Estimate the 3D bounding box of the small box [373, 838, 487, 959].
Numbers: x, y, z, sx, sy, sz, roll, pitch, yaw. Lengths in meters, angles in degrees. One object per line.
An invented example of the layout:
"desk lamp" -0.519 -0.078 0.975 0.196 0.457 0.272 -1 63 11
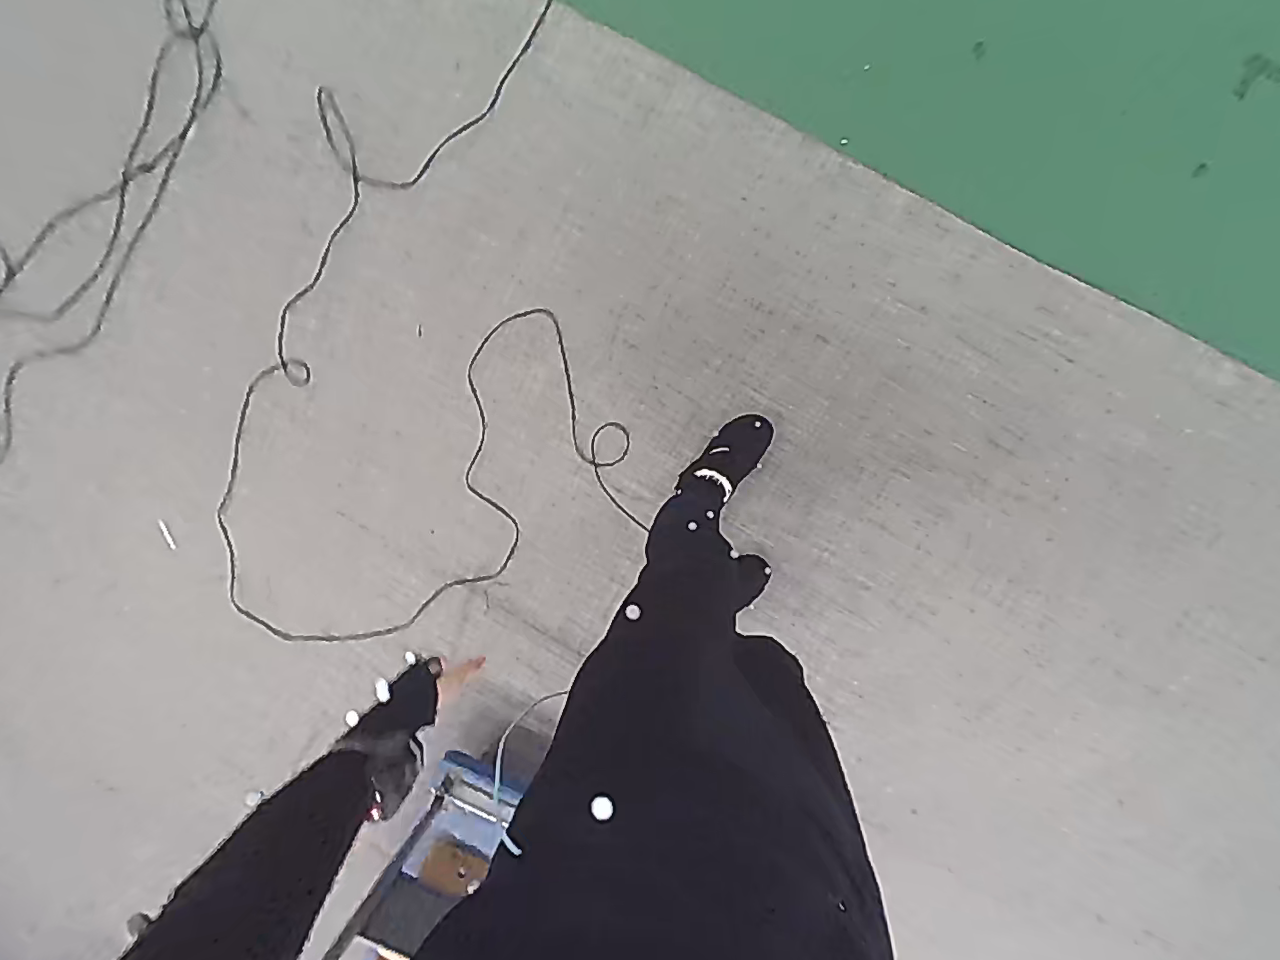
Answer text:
"small box" -0.492 1.019 1.293 0.168 0.176 0.179 26 100 2
